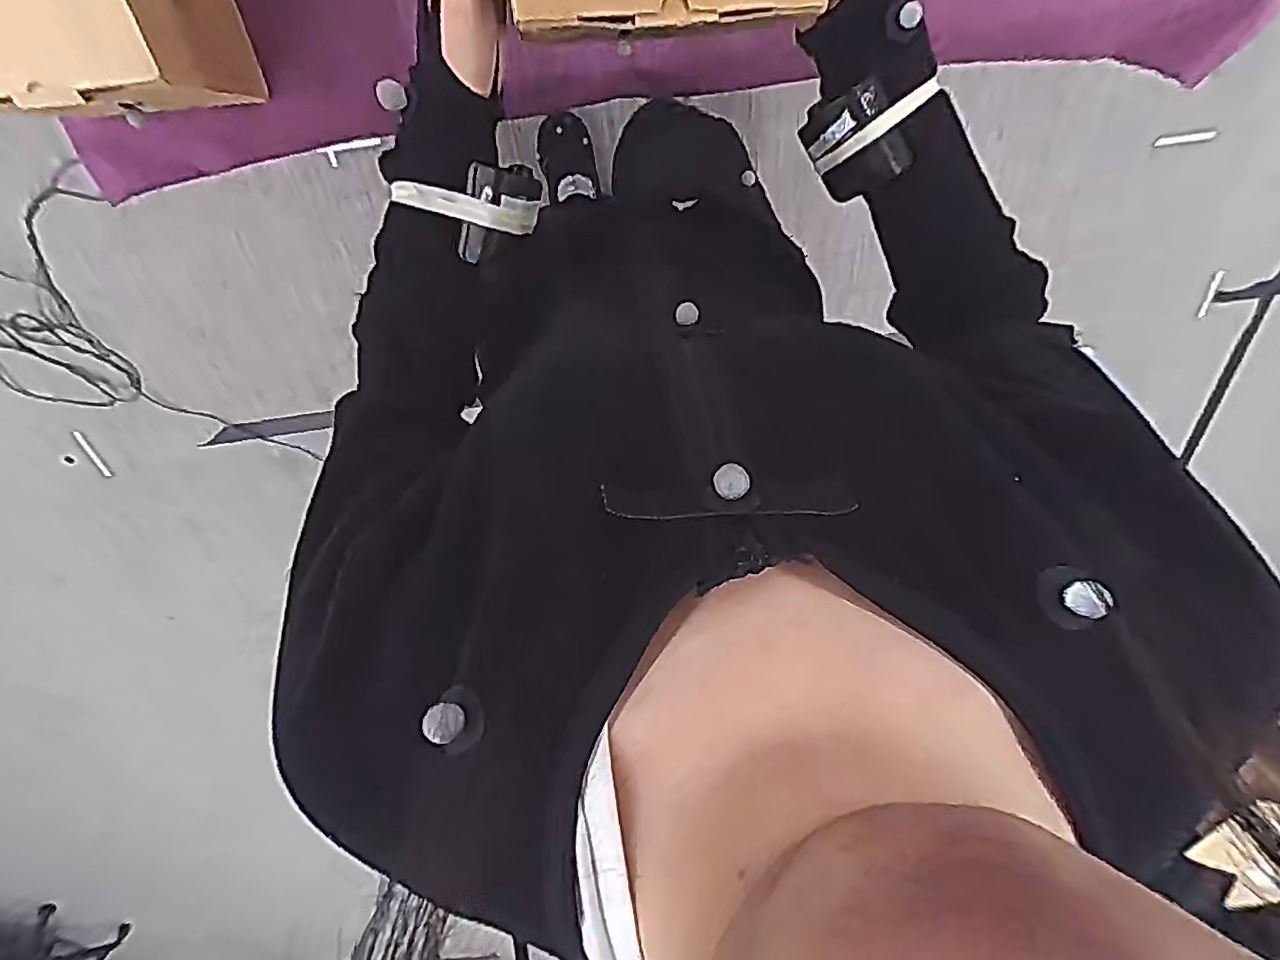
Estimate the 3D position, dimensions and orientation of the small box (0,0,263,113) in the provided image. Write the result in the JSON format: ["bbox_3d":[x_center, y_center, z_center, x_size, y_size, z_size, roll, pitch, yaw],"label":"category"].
[{"bbox_3d":[-0.425,-0.379,0.395,0.168,0.176,0.179,-8,124,-3],"label":"small box"}]

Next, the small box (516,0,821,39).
[{"bbox_3d":[0.002,-0.360,0.293,0.168,0.176,0.179,-7,128,-5],"label":"small box"}]
